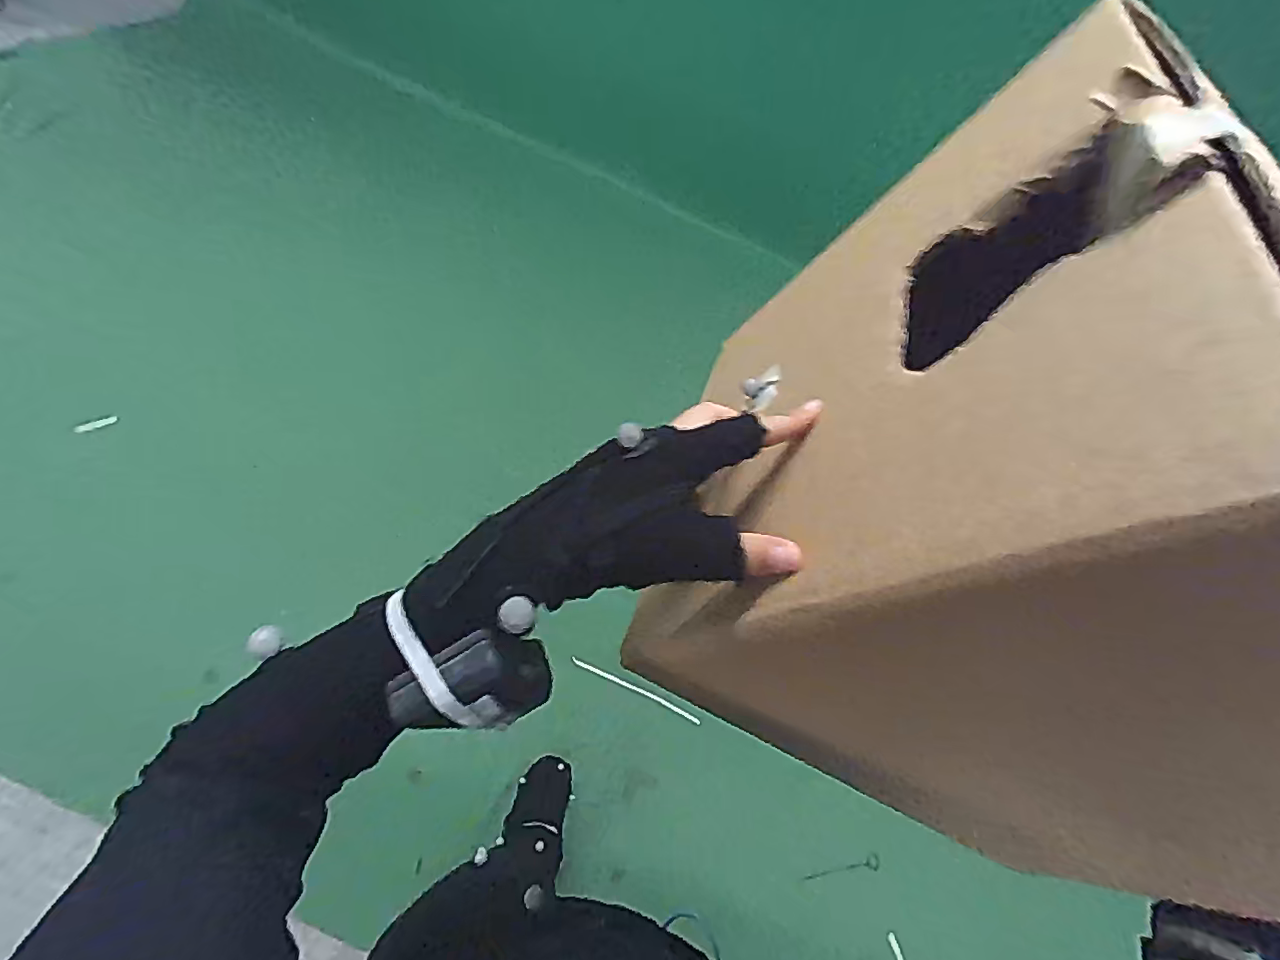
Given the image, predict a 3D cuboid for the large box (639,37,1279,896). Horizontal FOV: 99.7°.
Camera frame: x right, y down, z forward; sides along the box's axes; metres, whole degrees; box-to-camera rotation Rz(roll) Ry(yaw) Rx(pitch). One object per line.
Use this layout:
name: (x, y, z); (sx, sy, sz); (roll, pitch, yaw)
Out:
large box: (0.271, 0.040, 0.367); (0.408, 0.320, 0.320); (33, 56, -16)
